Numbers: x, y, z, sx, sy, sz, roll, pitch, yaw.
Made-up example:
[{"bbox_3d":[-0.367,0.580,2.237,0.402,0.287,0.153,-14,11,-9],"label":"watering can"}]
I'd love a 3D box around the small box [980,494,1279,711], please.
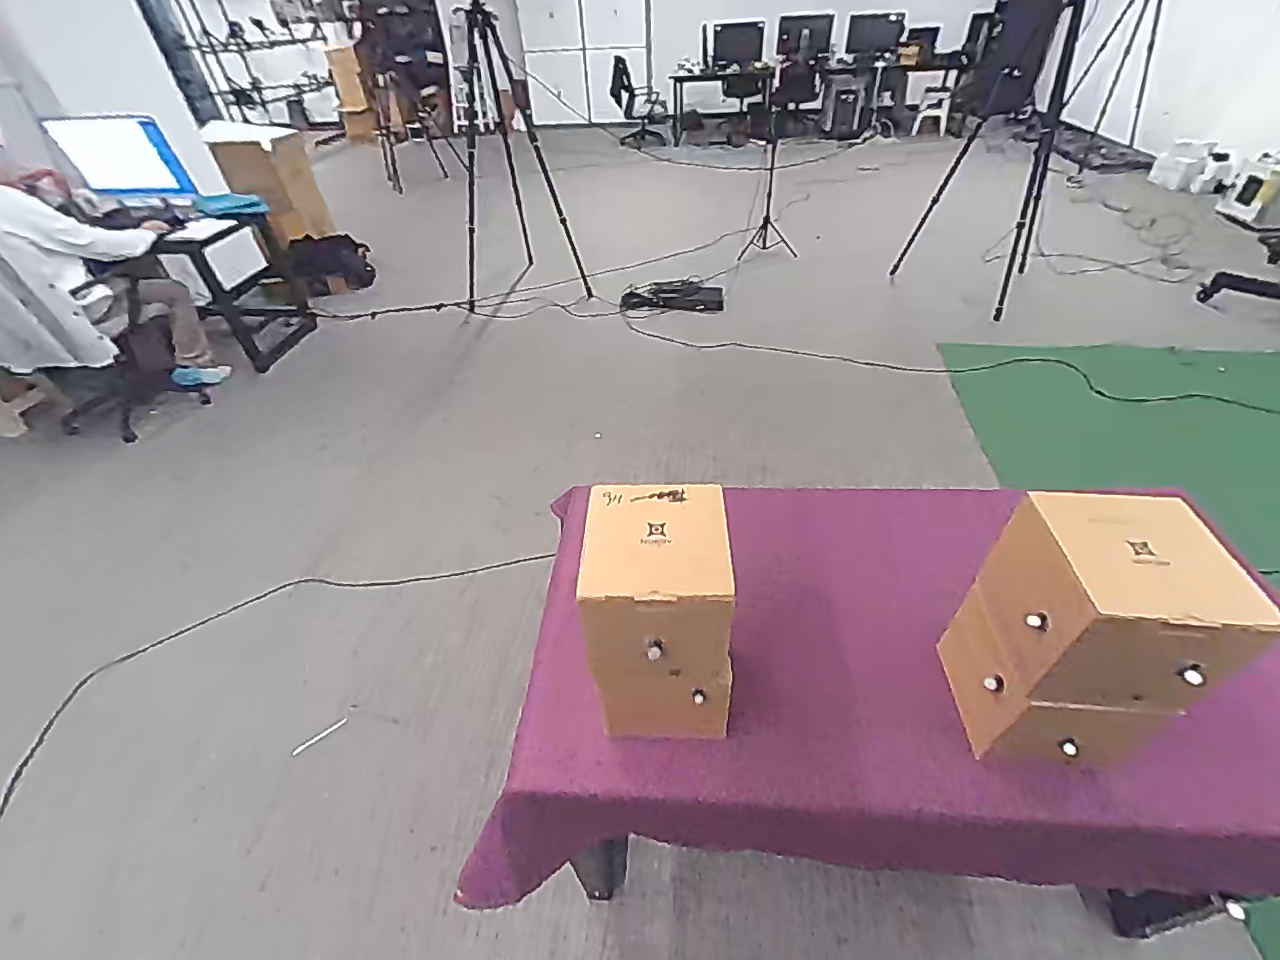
[{"bbox_3d":[0.523,0.137,0.612,0.168,0.176,0.179,3,41,8],"label":"small box"}]

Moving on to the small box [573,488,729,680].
[{"bbox_3d":[0.019,0.130,0.668,0.168,0.176,0.179,0,41,3],"label":"small box"}]

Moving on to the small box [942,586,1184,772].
[{"bbox_3d":[0.532,0.263,0.716,0.168,0.176,0.179,1,41,6],"label":"small box"}]

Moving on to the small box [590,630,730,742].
[{"bbox_3d":[0.033,0.256,0.773,0.179,0.176,0.168,0,41,4],"label":"small box"}]
